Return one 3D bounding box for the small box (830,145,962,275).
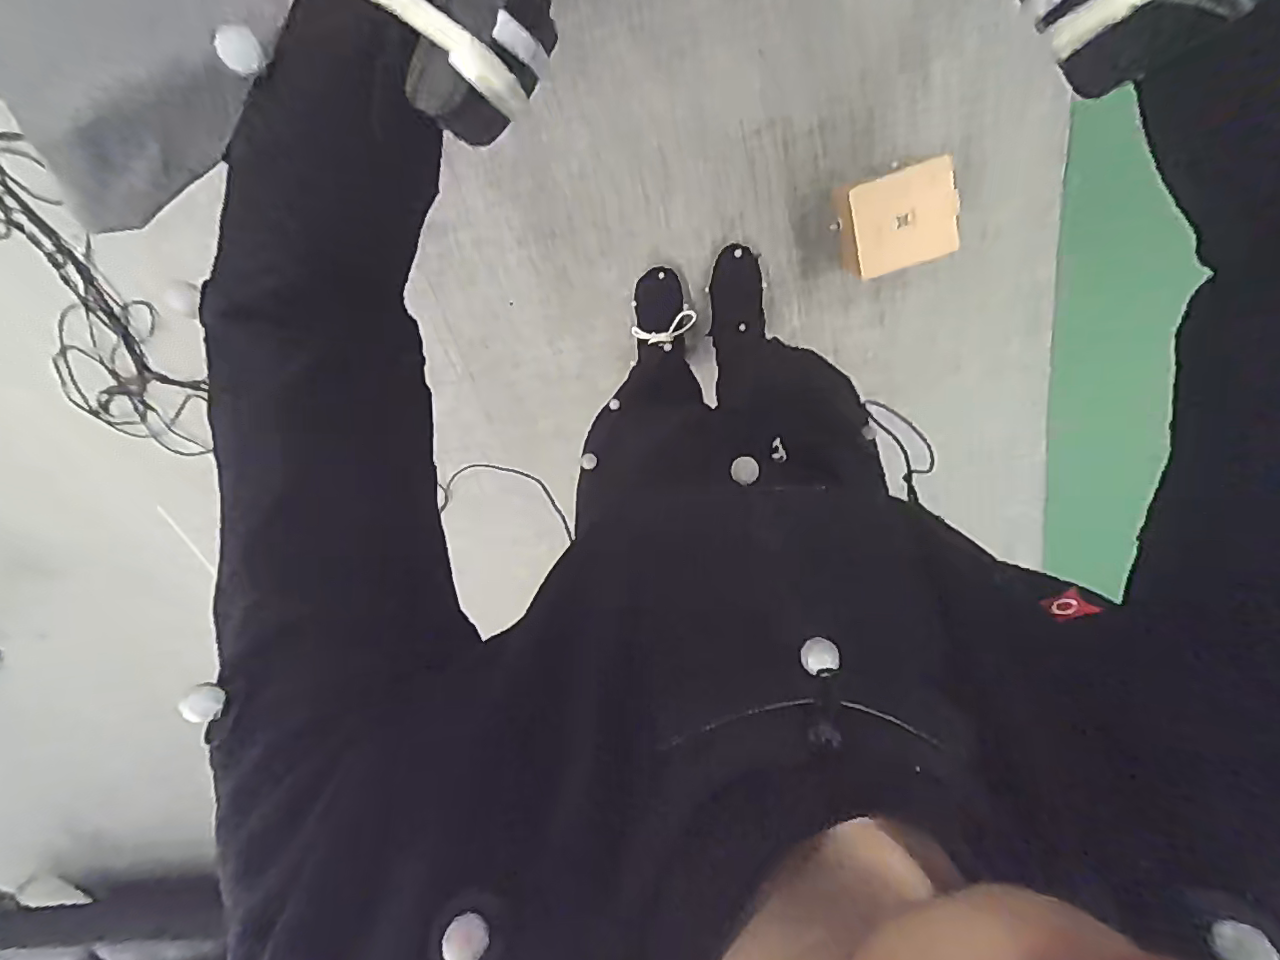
[{"bbox_3d":[0.480,-0.513,1.029,0.179,0.176,0.168,-15,115,15],"label":"small box"}]
